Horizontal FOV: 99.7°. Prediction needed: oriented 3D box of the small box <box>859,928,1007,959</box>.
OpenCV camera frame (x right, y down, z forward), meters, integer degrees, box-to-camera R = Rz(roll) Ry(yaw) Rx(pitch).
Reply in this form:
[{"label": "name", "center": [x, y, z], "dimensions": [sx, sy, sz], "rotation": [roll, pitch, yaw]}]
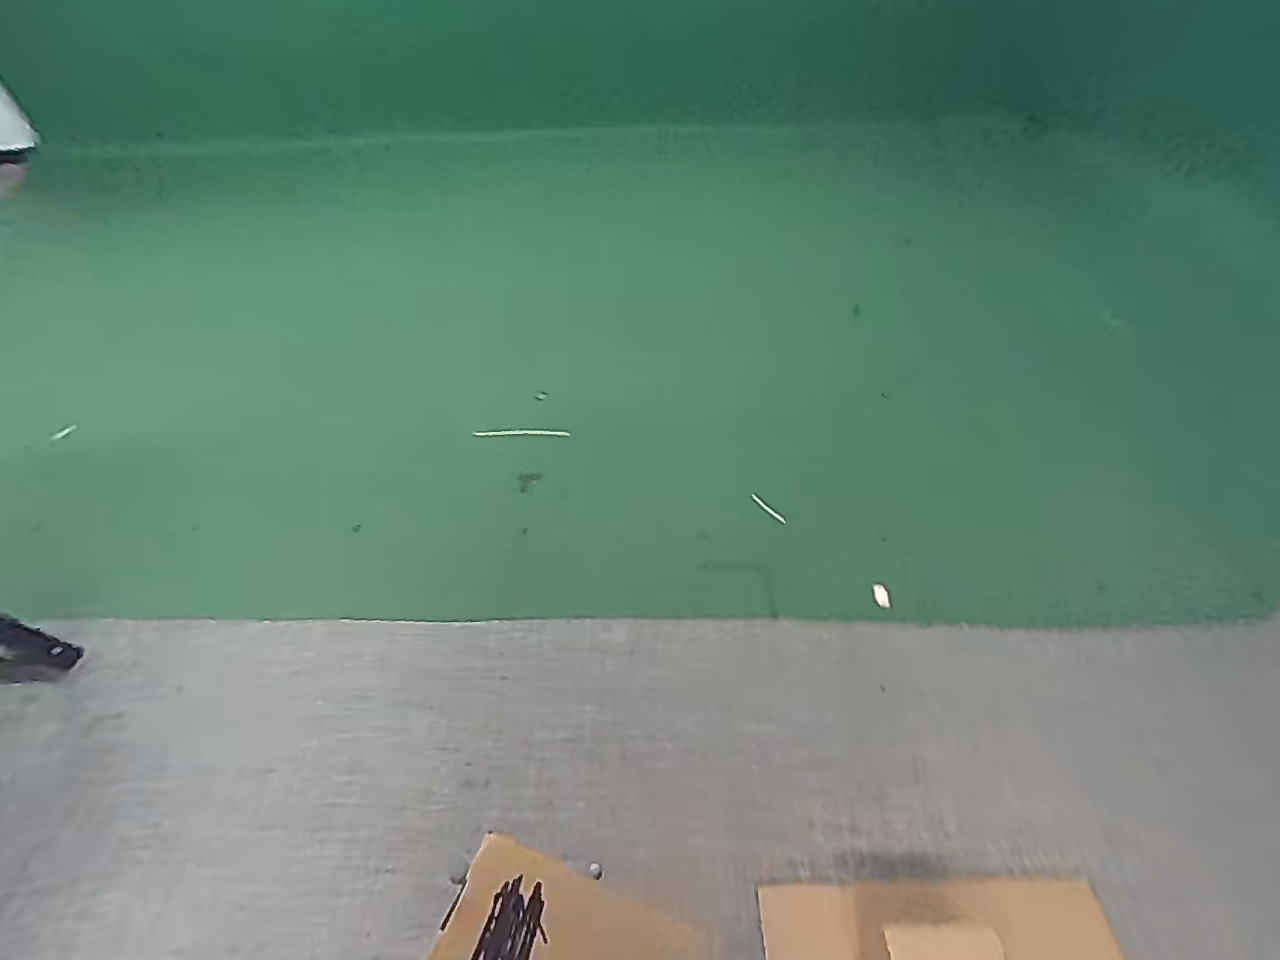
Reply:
[{"label": "small box", "center": [0.472, 0.815, 0.851], "dimensions": [0.179, 0.176, 0.168], "rotation": [-2, 50, 2]}]
